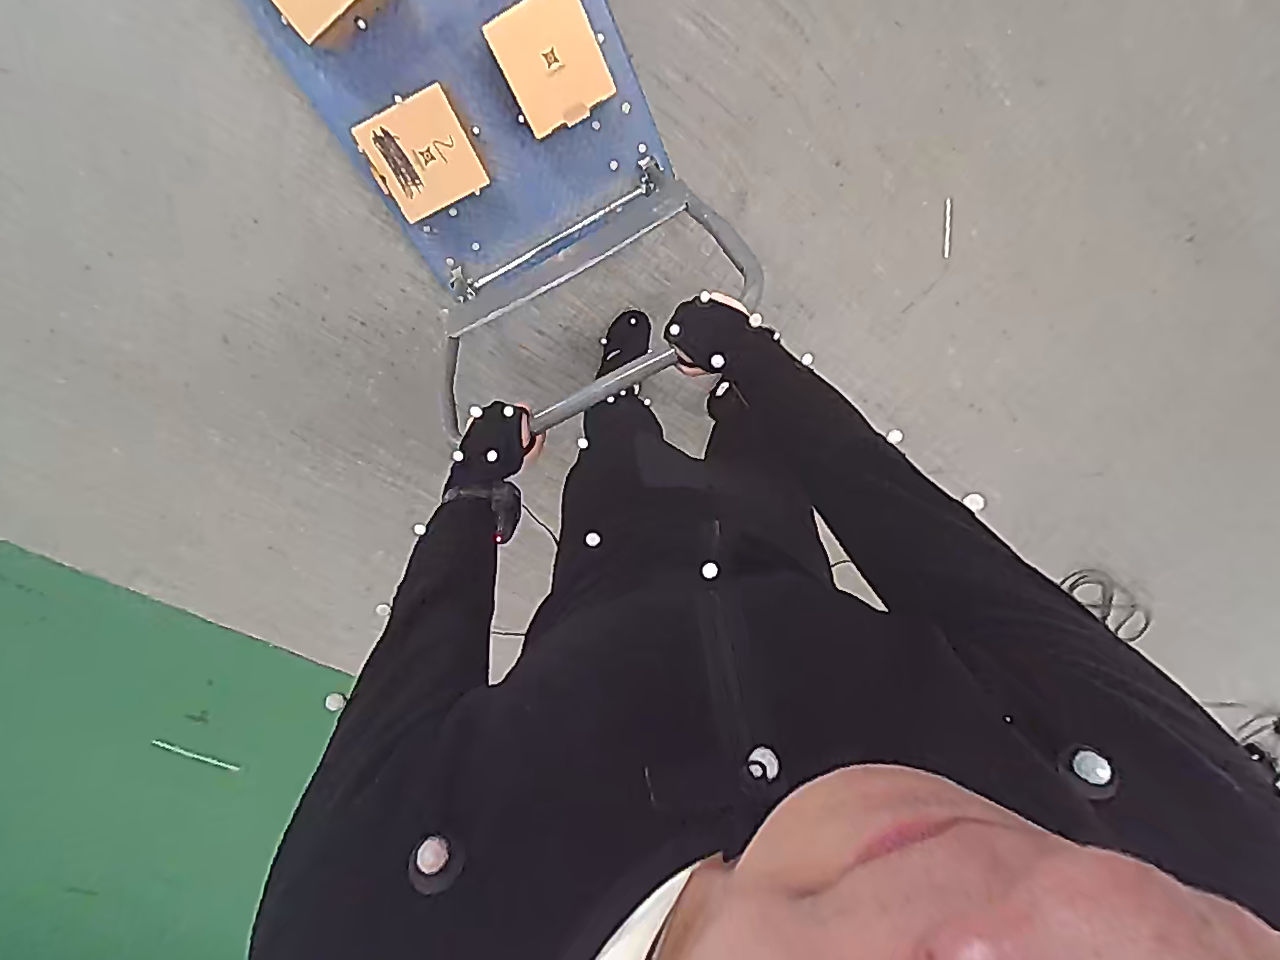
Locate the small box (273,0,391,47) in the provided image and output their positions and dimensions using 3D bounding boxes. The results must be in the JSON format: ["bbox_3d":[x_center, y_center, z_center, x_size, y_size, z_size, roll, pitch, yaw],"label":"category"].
[{"bbox_3d":[-0.511,-0.826,0.851,0.168,0.176,0.179,-32,125,11],"label":"small box"}]

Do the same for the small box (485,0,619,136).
[{"bbox_3d":[-0.159,-0.757,0.975,0.168,0.176,0.179,-27,127,8],"label":"small box"}]
